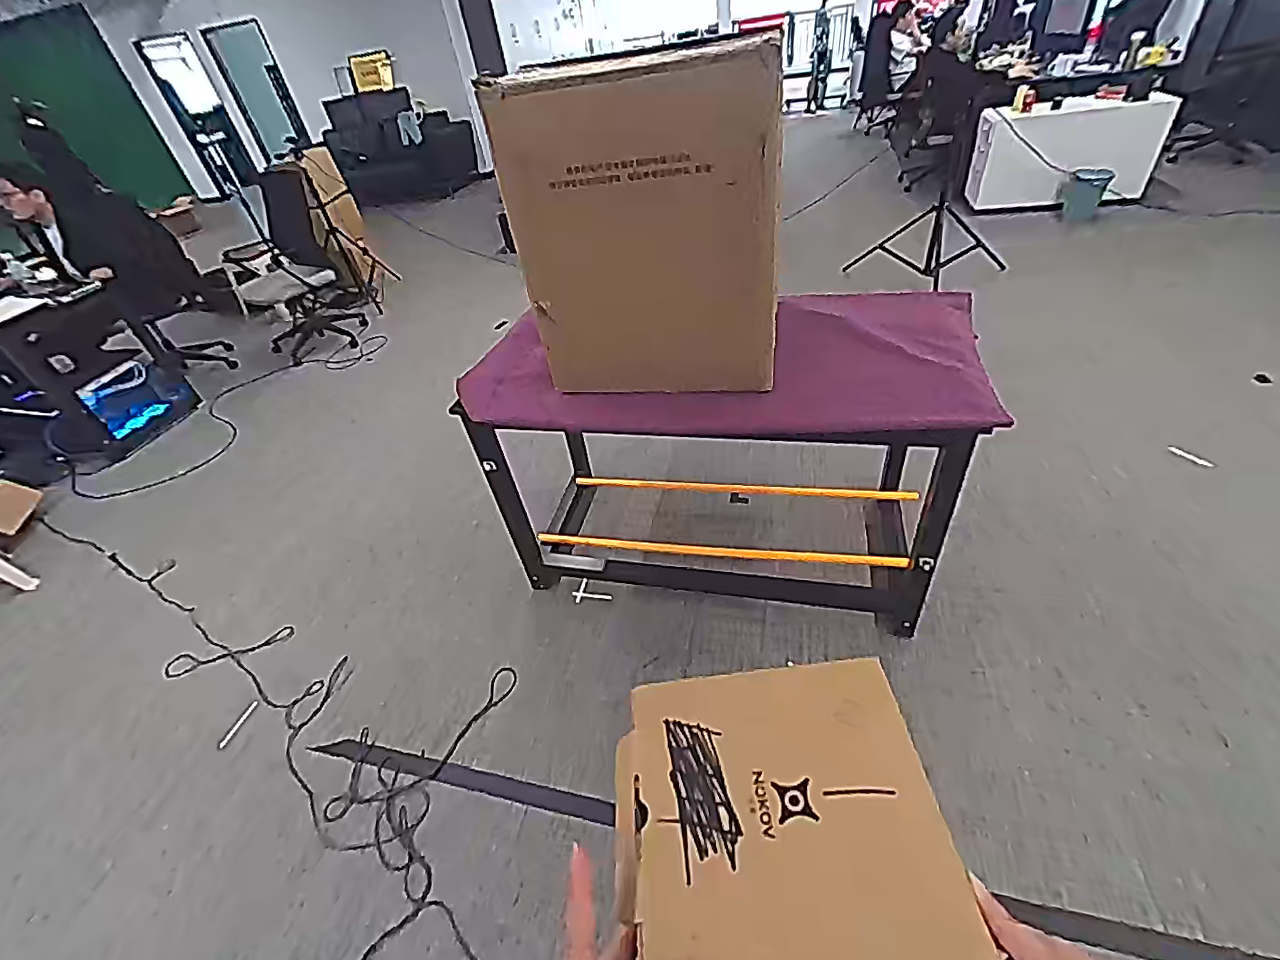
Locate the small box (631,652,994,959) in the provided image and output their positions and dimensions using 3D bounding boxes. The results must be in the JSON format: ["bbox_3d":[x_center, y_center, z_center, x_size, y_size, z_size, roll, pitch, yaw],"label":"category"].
[{"bbox_3d":[0.095,0.244,0.372,0.179,0.176,0.168,-8,41,4],"label":"small box"}]
